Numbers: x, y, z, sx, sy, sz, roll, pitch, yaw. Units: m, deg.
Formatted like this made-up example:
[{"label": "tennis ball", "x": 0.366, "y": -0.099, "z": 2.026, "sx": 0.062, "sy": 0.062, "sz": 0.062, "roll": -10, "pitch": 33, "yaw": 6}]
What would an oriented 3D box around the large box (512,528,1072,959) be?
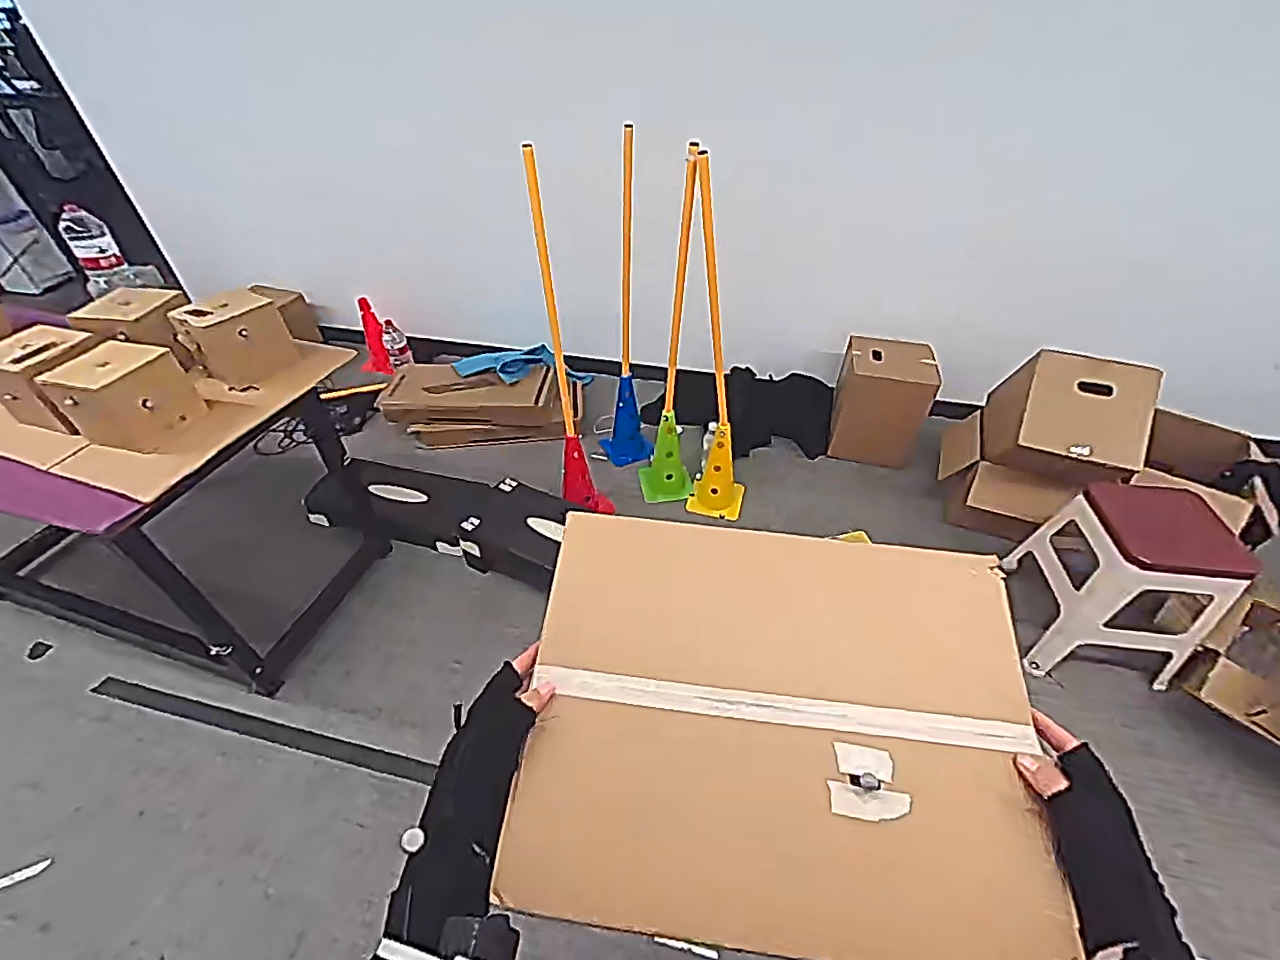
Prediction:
[{"label": "large box", "x": 0.118, "y": 0.270, "z": 0.582, "sx": 0.408, "sy": 0.320, "sz": 0.320, "roll": 6, "pitch": 61, "yaw": 4}]
